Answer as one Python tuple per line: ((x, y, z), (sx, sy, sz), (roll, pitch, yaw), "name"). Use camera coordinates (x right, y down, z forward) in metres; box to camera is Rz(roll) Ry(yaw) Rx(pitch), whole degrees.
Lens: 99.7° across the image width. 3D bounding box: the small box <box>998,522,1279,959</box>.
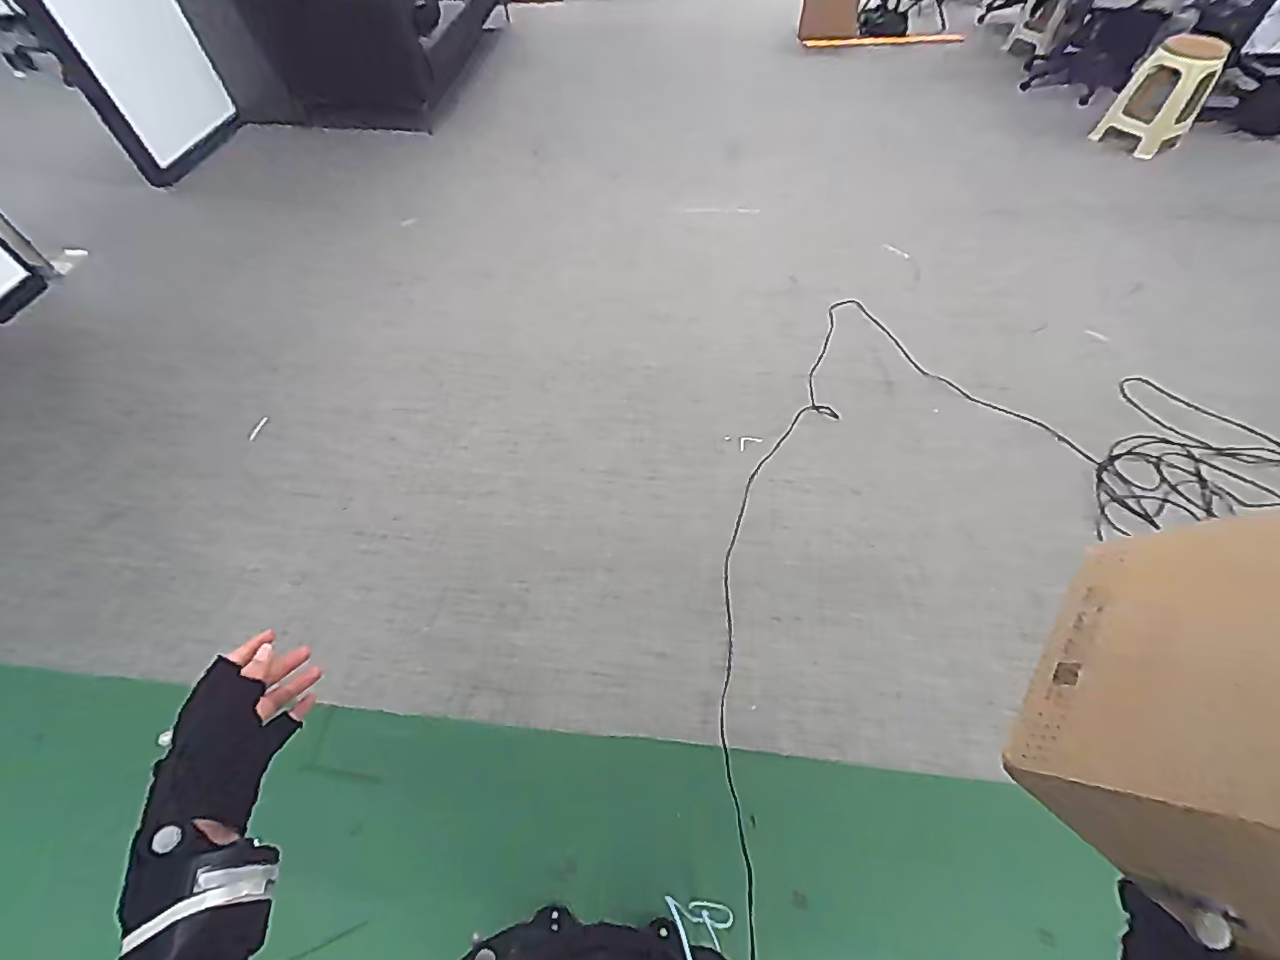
((0.320, 0.127, 0.244), (0.179, 0.176, 0.168), (41, 68, 2), "small box")
